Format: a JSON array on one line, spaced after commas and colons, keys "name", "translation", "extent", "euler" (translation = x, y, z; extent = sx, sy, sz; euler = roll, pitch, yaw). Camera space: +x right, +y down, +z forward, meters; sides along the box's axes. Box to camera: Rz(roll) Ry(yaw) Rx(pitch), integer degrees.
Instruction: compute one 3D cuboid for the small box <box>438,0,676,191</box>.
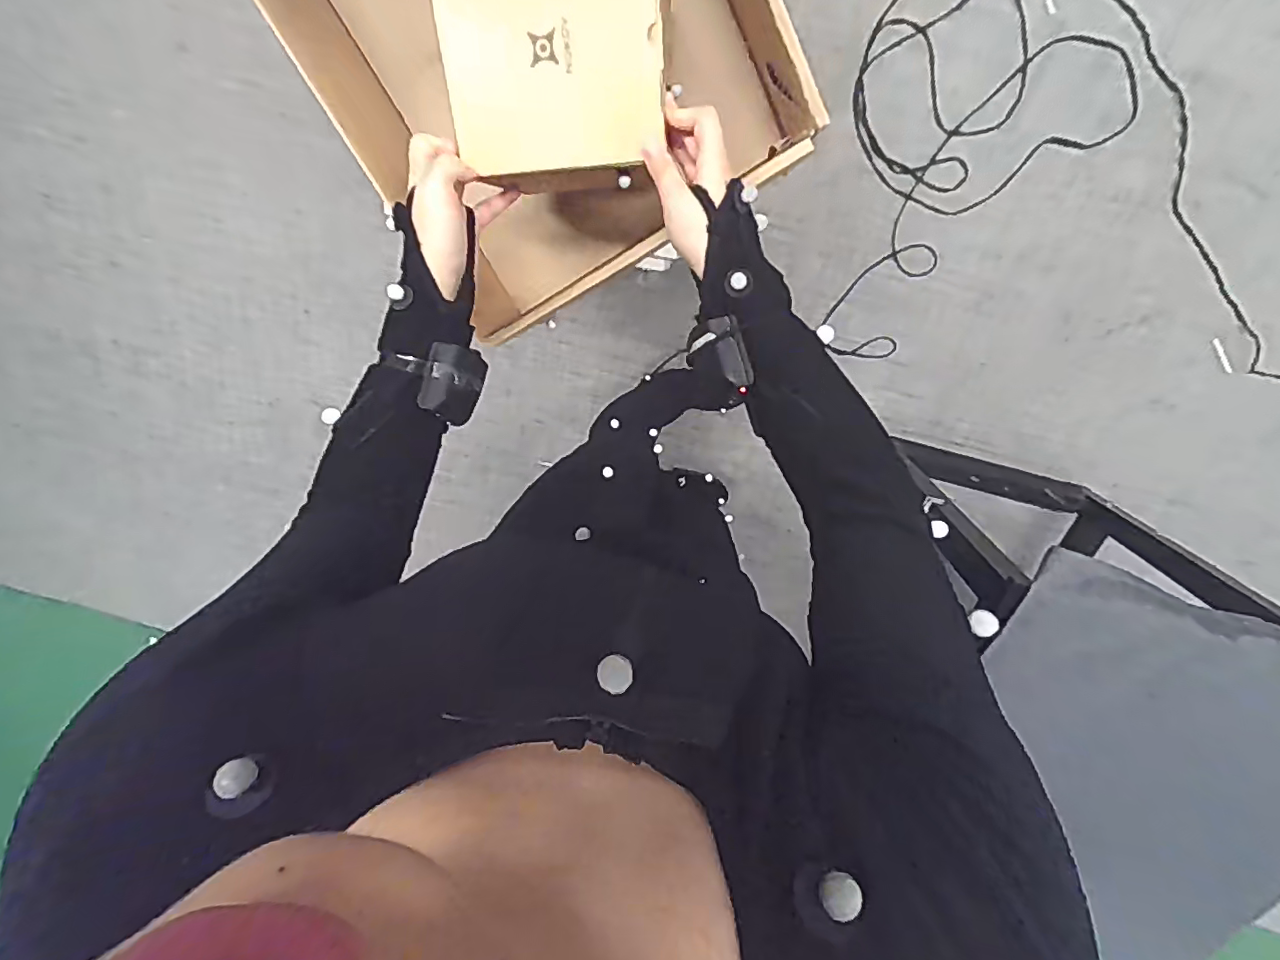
[{"name": "small box", "translation": [-0.061, -0.372, 0.498], "extent": [0.179, 0.176, 0.168], "euler": [-2, 113, 7]}]
